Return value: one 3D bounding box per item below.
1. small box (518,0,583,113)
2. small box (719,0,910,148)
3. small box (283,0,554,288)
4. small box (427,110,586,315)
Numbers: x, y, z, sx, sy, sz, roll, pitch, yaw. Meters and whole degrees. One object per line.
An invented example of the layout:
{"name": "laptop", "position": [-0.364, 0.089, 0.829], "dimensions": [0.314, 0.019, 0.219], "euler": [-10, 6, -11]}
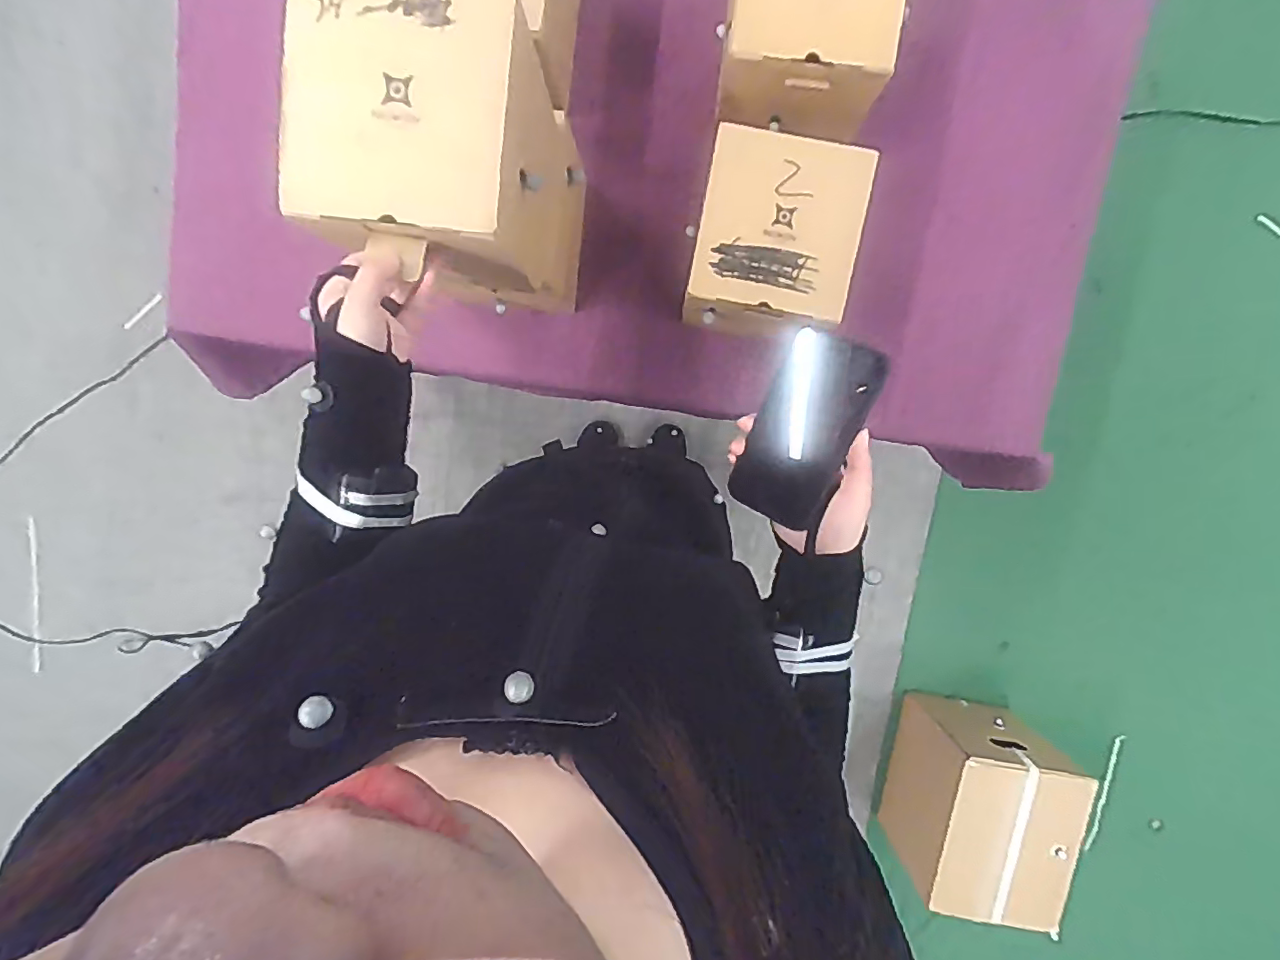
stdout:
{"name": "small box", "position": [-0.161, -0.550, 0.610], "dimensions": [0.168, 0.176, 0.179], "euler": [9, 98, 0]}
{"name": "small box", "position": [0.186, -0.509, 0.603], "dimensions": [0.168, 0.176, 0.179], "euler": [7, 99, 1]}
{"name": "small box", "position": [-0.174, -0.280, 0.473], "dimensions": [0.168, 0.176, 0.179], "euler": [6, 96, 0]}
{"name": "small box", "position": [-0.160, -0.308, 0.640], "dimensions": [0.168, 0.176, 0.179], "euler": [7, 97, 1]}
